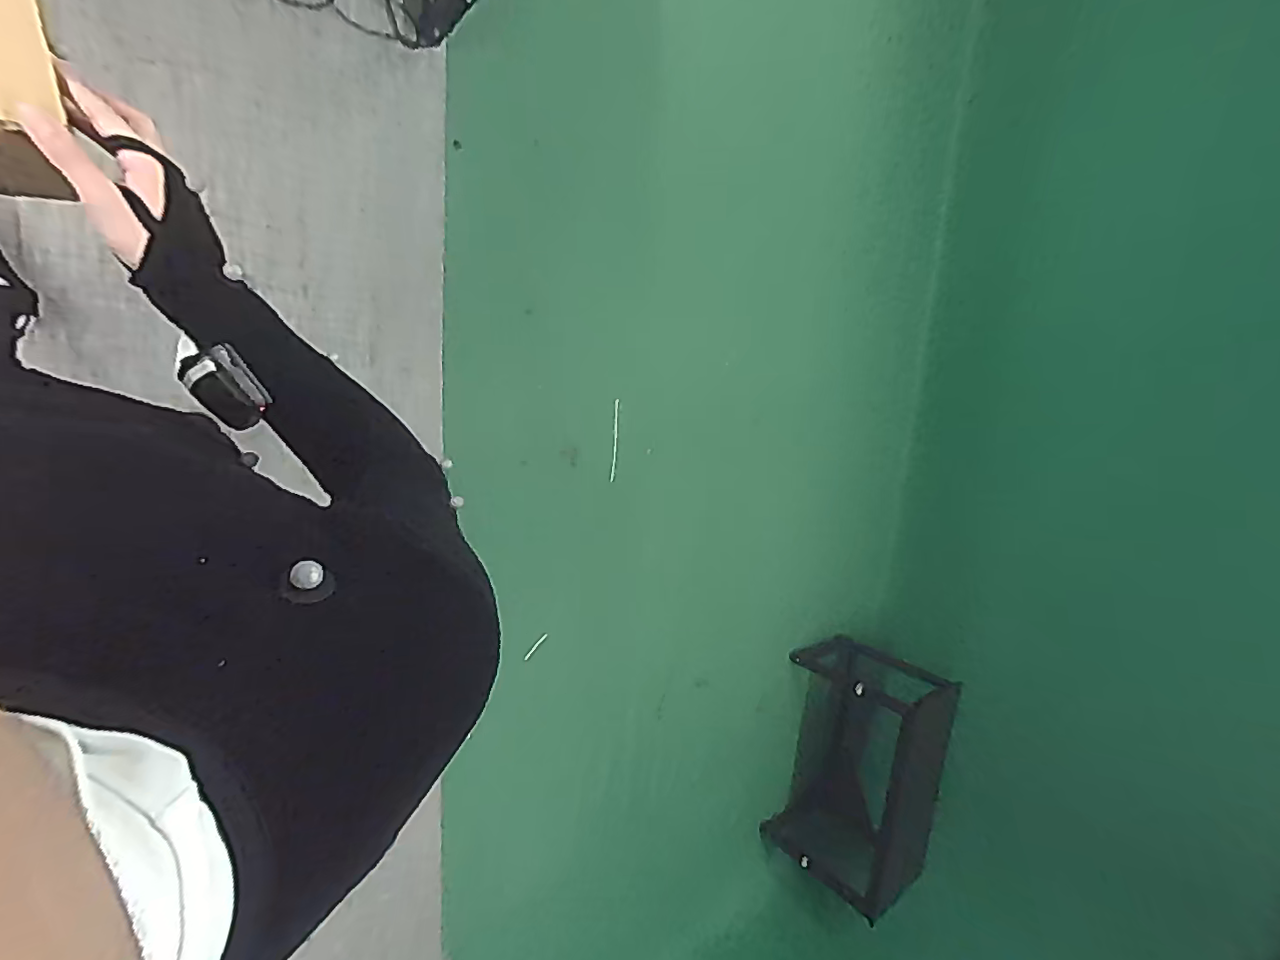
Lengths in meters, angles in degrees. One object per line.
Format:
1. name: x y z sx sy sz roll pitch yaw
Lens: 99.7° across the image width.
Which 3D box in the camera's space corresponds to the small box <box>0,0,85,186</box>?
1. small box: -0.530 -0.329 0.378 0.168 0.176 0.179 -15 105 -39
